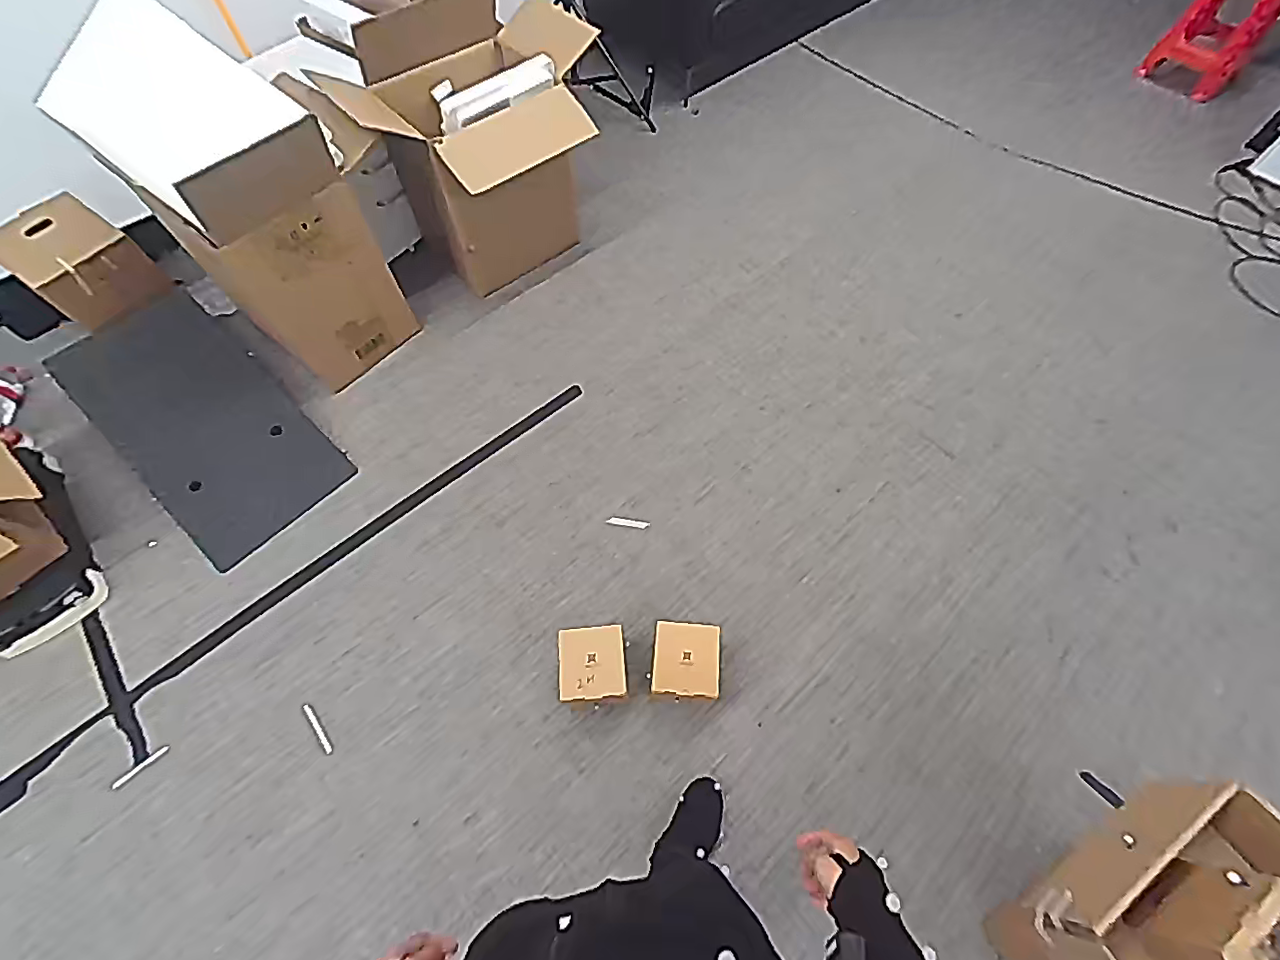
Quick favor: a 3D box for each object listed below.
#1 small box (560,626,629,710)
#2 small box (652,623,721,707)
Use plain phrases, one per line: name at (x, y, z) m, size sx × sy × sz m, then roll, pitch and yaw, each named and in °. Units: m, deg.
small box at (-0.118, 0.499, 1.426) m, size 0.168 × 0.176 × 0.179 m, roll -5°, pitch 62°, yaw -1°
small box at (0.120, 0.491, 1.429) m, size 0.168 × 0.176 × 0.179 m, roll 4°, pitch 62°, yaw 3°
